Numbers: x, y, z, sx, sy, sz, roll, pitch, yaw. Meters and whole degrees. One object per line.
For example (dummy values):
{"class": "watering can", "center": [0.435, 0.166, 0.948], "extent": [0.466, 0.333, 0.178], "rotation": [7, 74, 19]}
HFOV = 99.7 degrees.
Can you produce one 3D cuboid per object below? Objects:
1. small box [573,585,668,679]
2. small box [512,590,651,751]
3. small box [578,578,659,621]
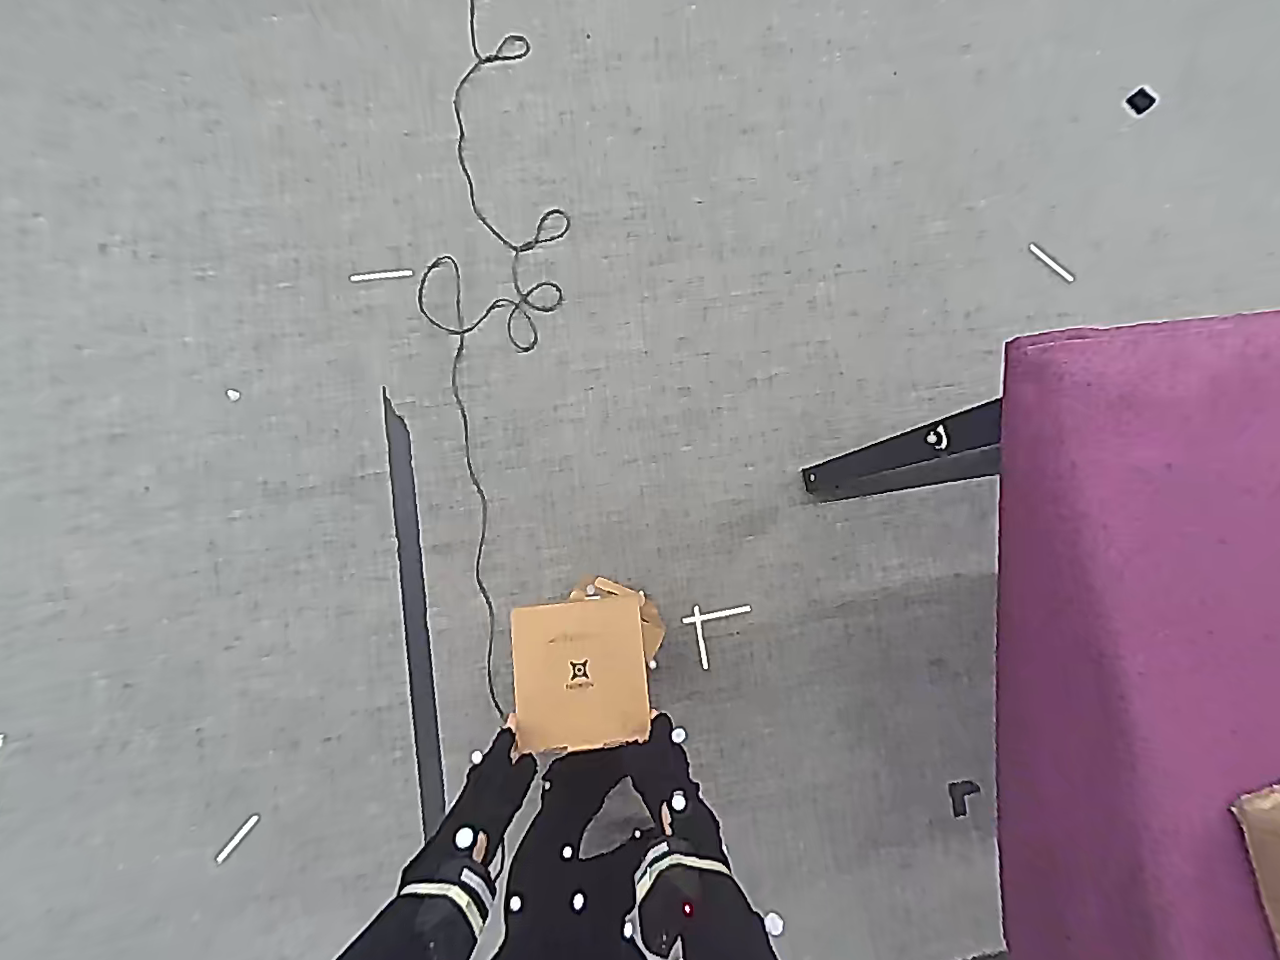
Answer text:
{"class": "small box", "center": [-0.069, 0.292, 0.924], "extent": [0.168, 0.176, 0.179], "rotation": [25, 82, 0]}
{"class": "small box", "center": [-0.076, 0.252, 0.754], "extent": [0.168, 0.176, 0.179], "rotation": [-6, 79, -3]}
{"class": "small box", "center": [-0.076, 0.308, 1.088], "extent": [0.168, 0.176, 0.179], "rotation": [23, 83, 0]}
